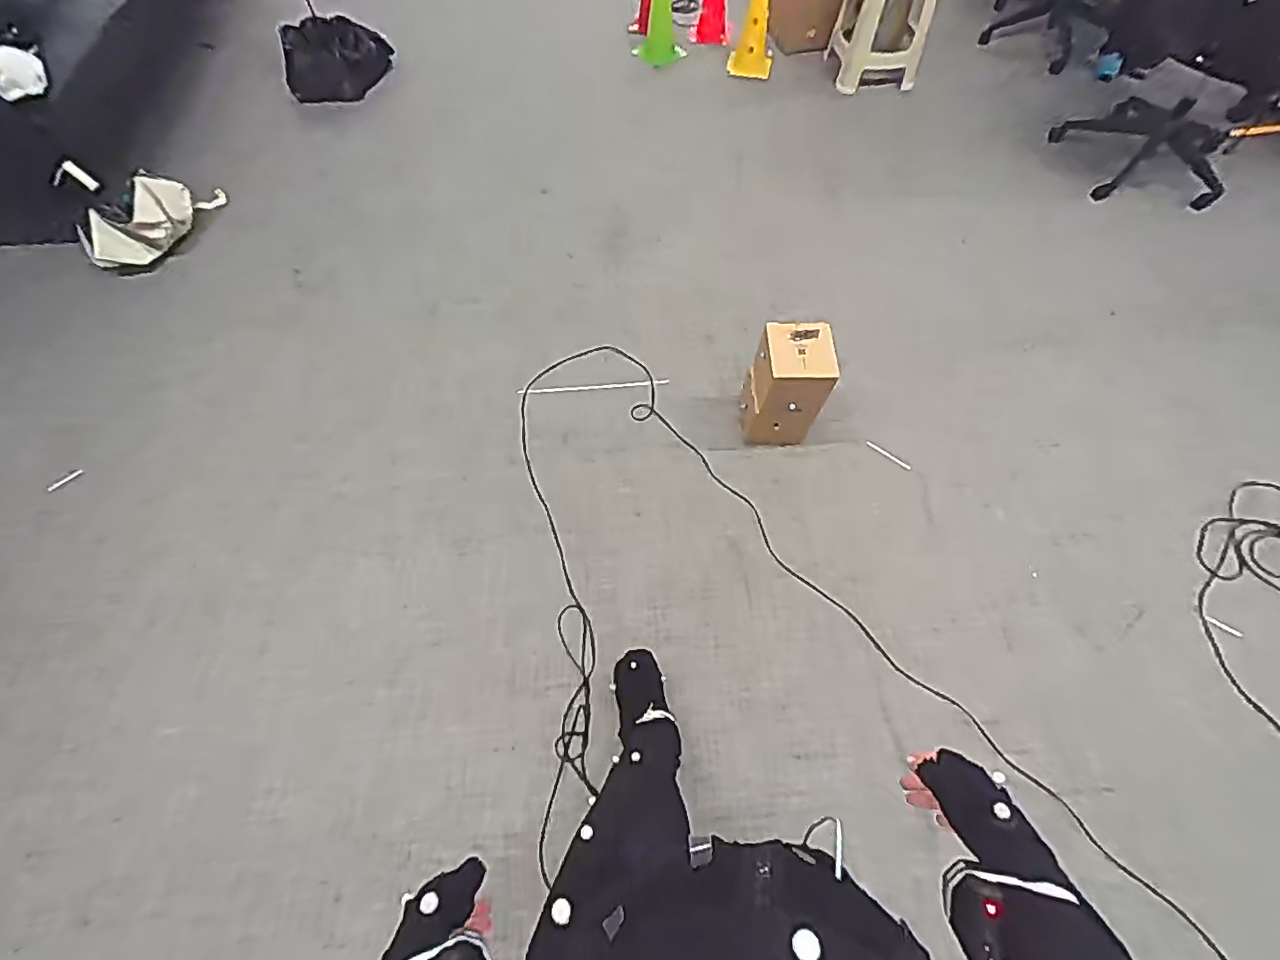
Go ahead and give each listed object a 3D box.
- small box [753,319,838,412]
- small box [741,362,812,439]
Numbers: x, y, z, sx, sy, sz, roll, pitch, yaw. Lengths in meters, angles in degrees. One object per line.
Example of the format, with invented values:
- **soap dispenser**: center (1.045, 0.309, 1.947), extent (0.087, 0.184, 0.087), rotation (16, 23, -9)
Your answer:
- **small box**: center (0.400, -0.299, 1.422), extent (0.168, 0.176, 0.179), rotation (0, 65, -1)
- **small box**: center (0.392, -0.227, 1.570), extent (0.179, 0.176, 0.168), rotation (-1, 64, 0)
